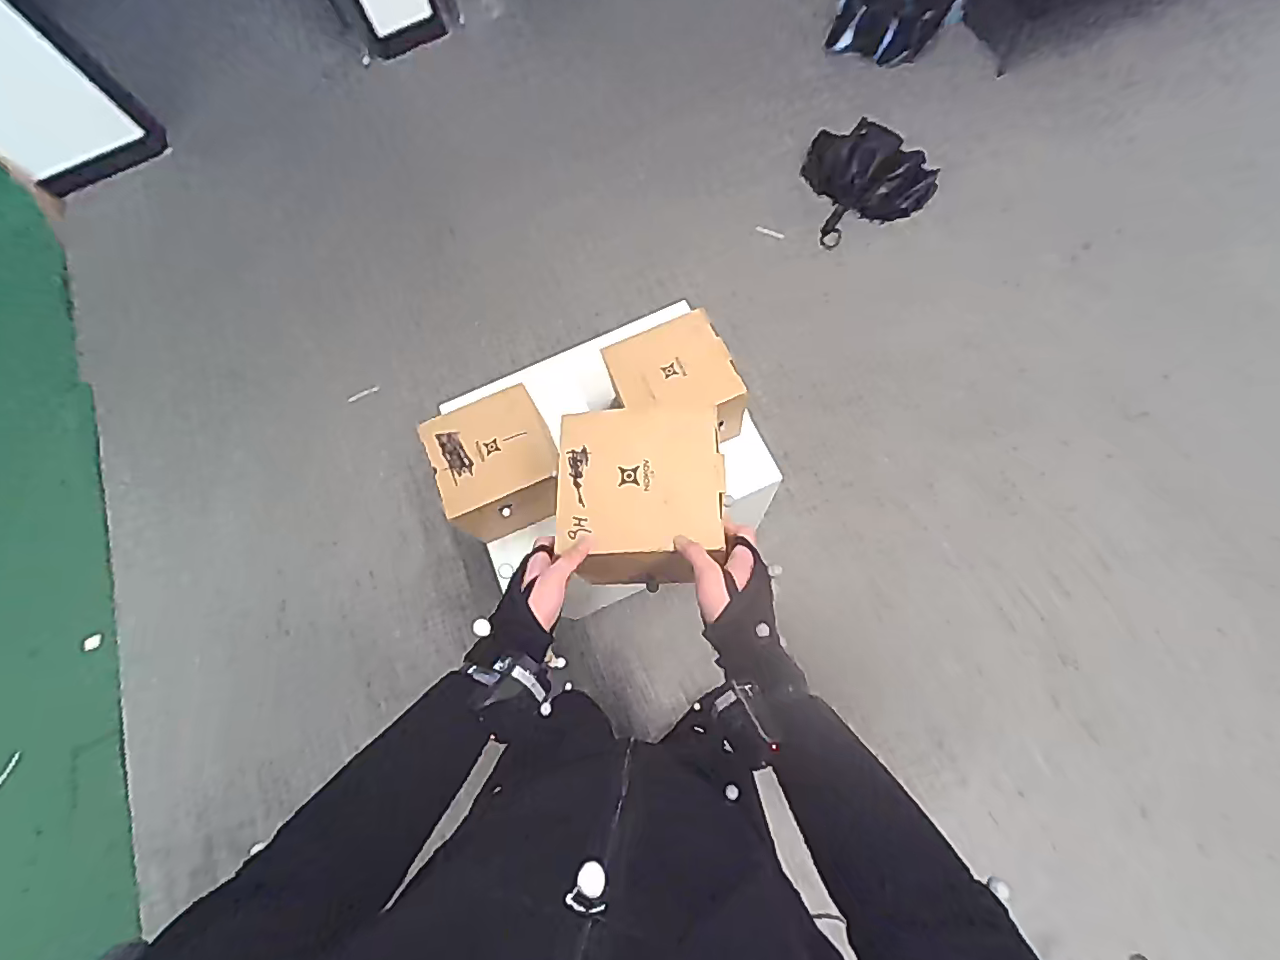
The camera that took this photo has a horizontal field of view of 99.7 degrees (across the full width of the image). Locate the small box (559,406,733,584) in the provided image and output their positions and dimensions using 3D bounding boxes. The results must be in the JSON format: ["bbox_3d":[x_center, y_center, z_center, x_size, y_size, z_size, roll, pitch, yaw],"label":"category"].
[{"bbox_3d":[0.012,0.025,0.636,0.179,0.176,0.168,-2,69,5],"label":"small box"}]

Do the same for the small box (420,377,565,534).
[{"bbox_3d":[-0.215,-0.029,0.860,0.179,0.176,0.168,-22,73,-5],"label":"small box"}]

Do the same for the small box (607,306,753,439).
[{"bbox_3d":[0.063,-0.142,0.876,0.179,0.176,0.168,-22,72,-1],"label":"small box"}]
